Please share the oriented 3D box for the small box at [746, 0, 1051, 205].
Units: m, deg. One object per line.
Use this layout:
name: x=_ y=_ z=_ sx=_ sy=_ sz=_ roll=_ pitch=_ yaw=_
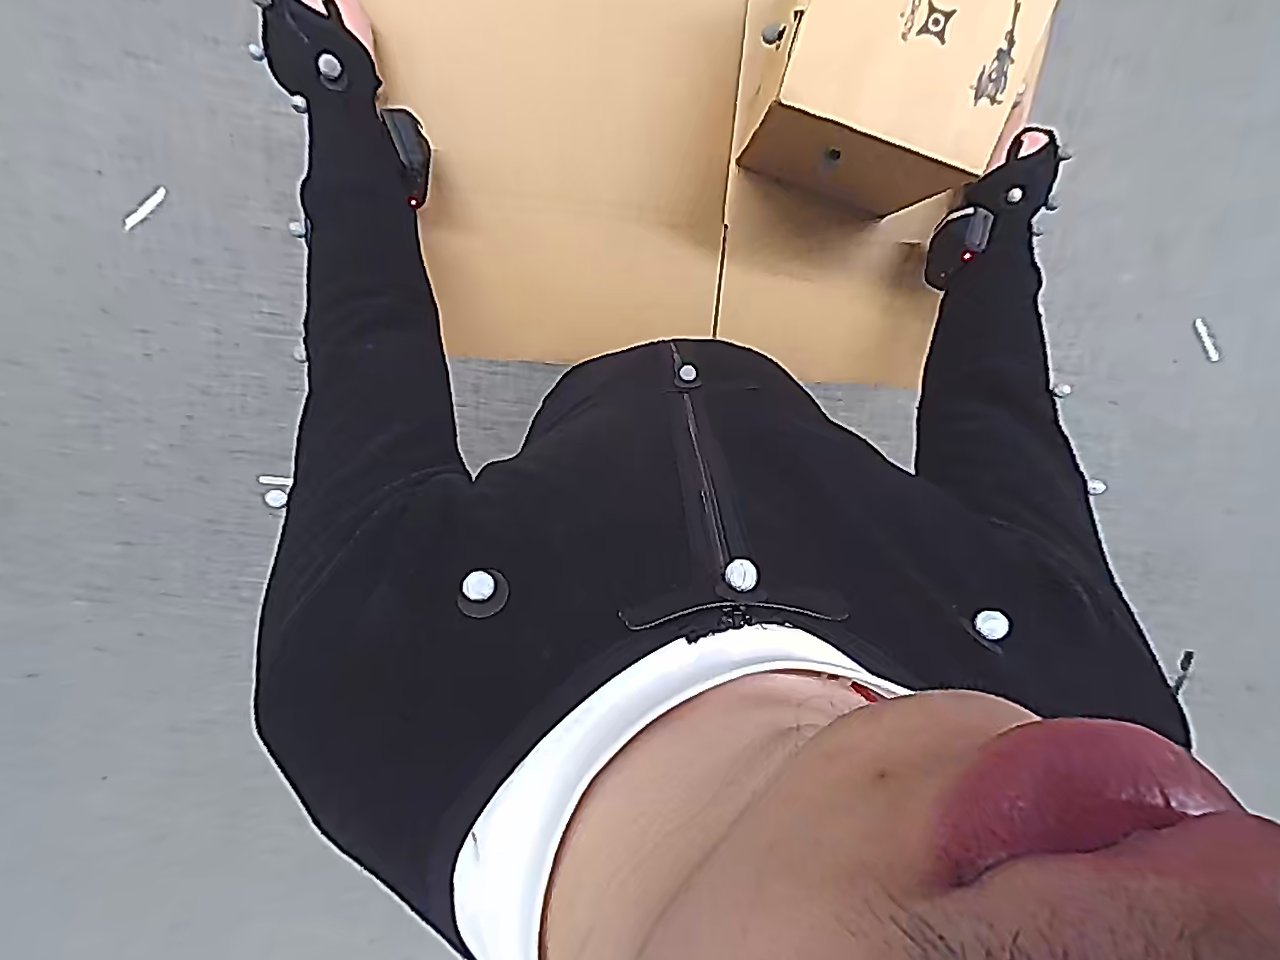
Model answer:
small box: x=0.208 y=-0.364 z=0.475 sx=0.179 sy=0.176 sz=0.168 roll=17 pitch=105 yaw=-4
